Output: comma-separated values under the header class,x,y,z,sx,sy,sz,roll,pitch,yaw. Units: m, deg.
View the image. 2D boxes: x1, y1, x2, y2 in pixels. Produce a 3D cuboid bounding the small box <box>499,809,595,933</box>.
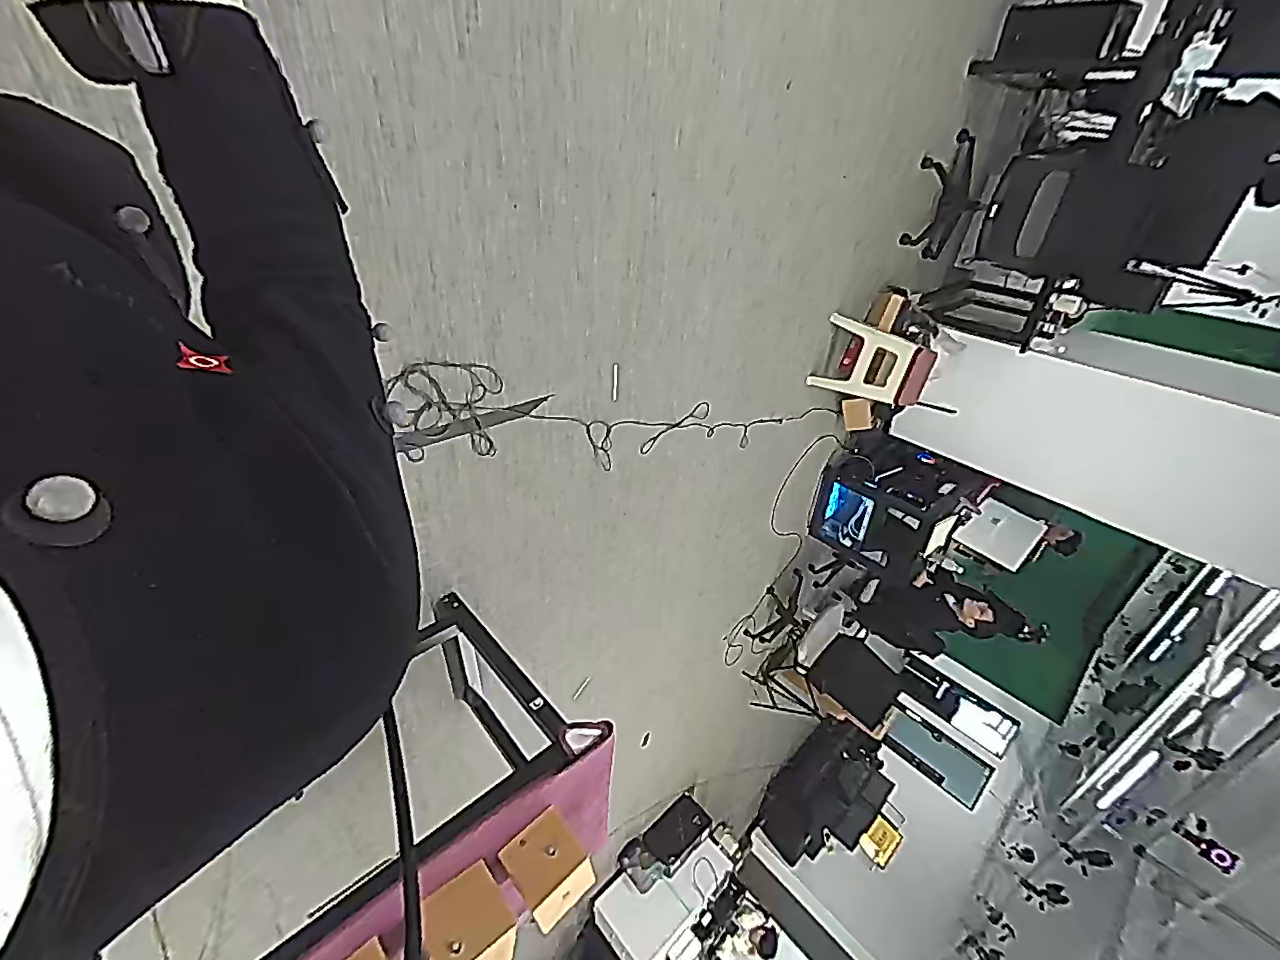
class,x,y,z,sx,sy,sz,roll,pitch,yaw
small box,-0.236,0.983,1.373,0.168,0.176,0.179,-31,135,-31
